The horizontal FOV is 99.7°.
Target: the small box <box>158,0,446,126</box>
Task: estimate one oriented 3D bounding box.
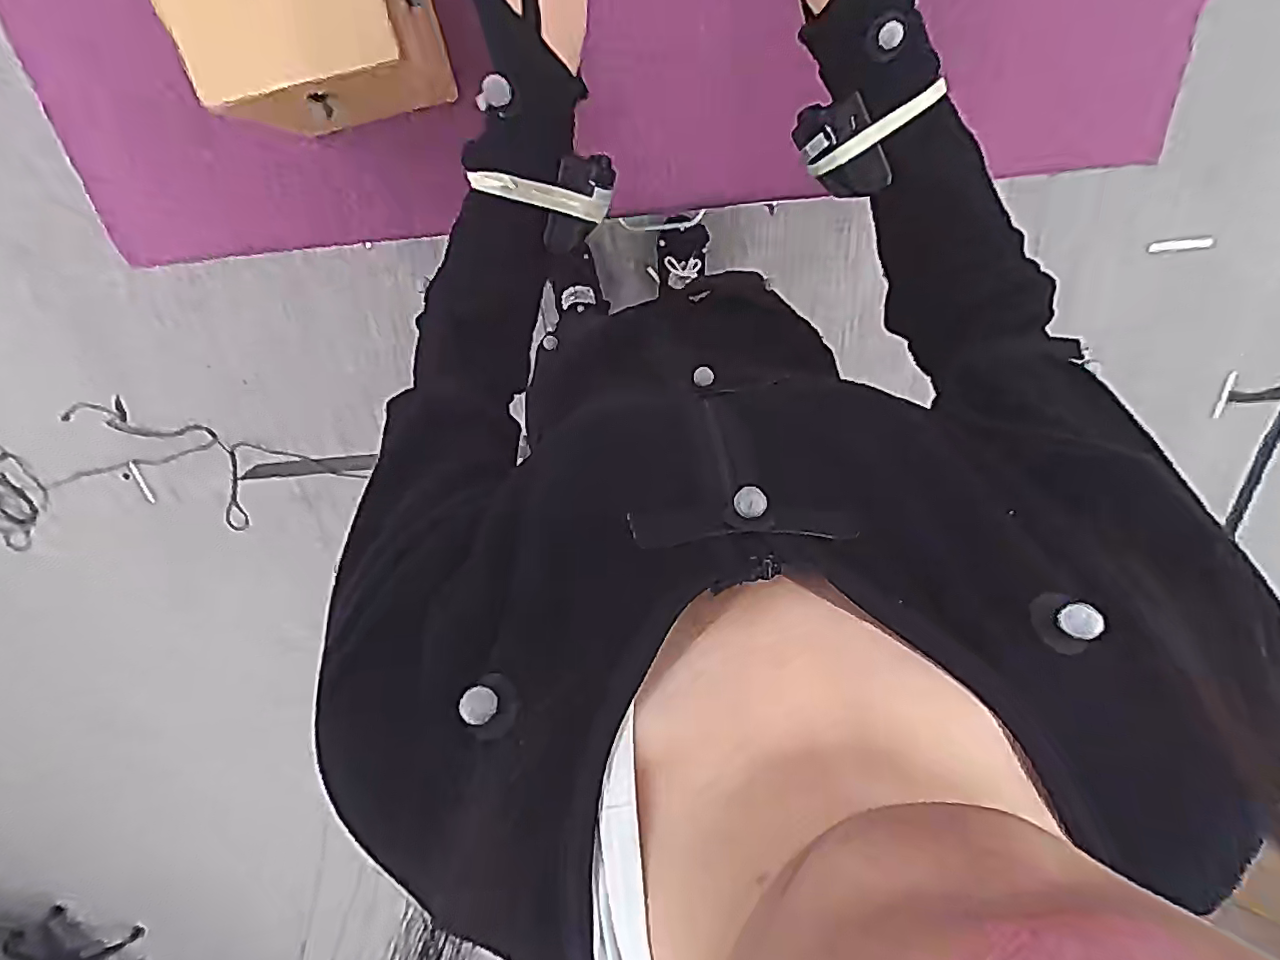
[{"bbox_3d":[-0.291,-0.432,0.476,0.179,0.176,0.168,-10,116,5],"label":"small box"}]
